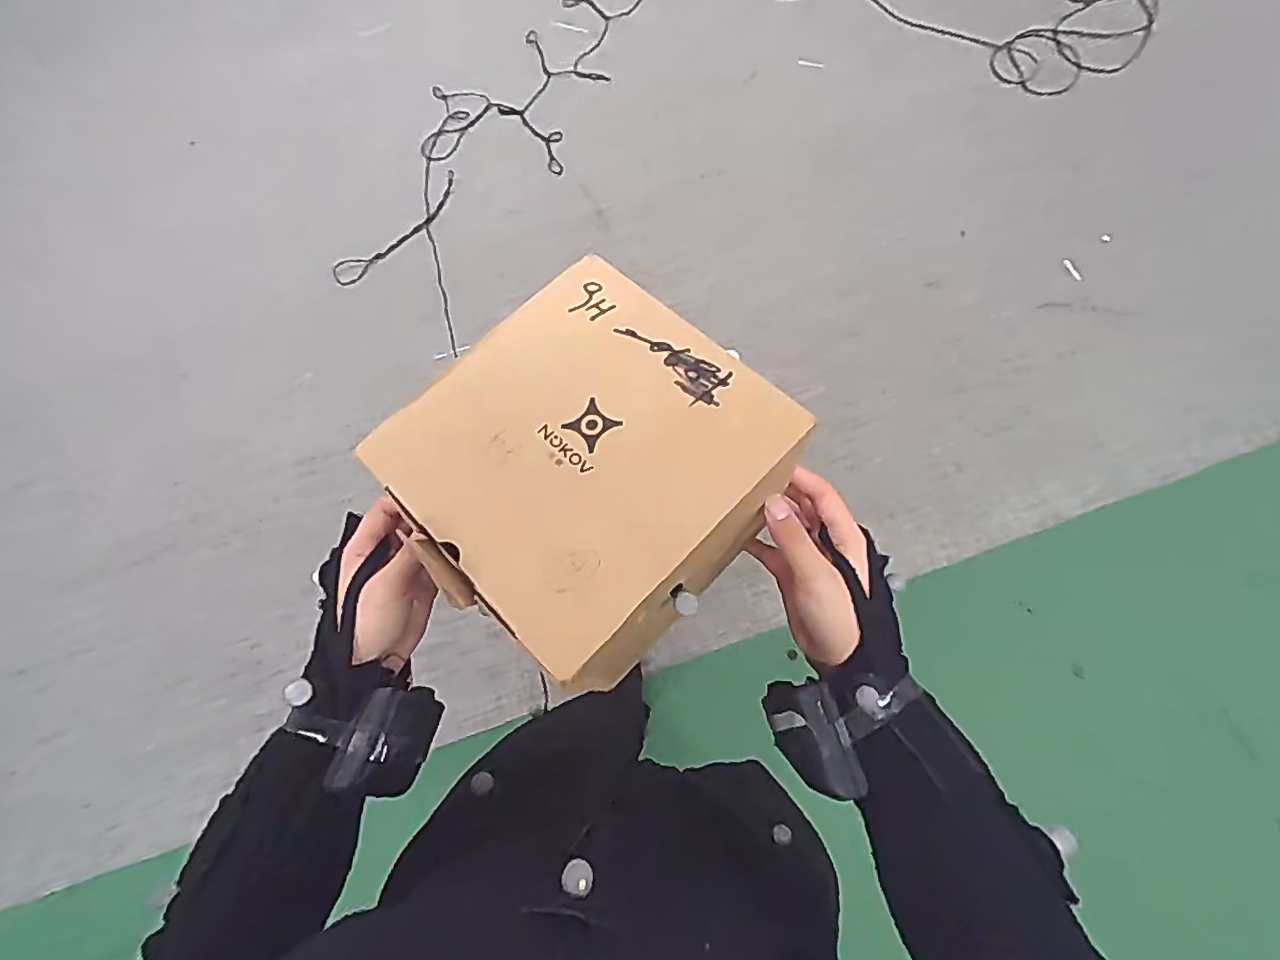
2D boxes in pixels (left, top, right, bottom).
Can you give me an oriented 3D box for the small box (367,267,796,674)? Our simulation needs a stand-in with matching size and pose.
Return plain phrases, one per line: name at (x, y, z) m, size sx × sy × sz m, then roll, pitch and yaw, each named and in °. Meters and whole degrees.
small box at (-0.026, 0.009, 0.358) m, size 0.168 × 0.176 × 0.179 m, roll 42°, pitch 78°, yaw 18°
